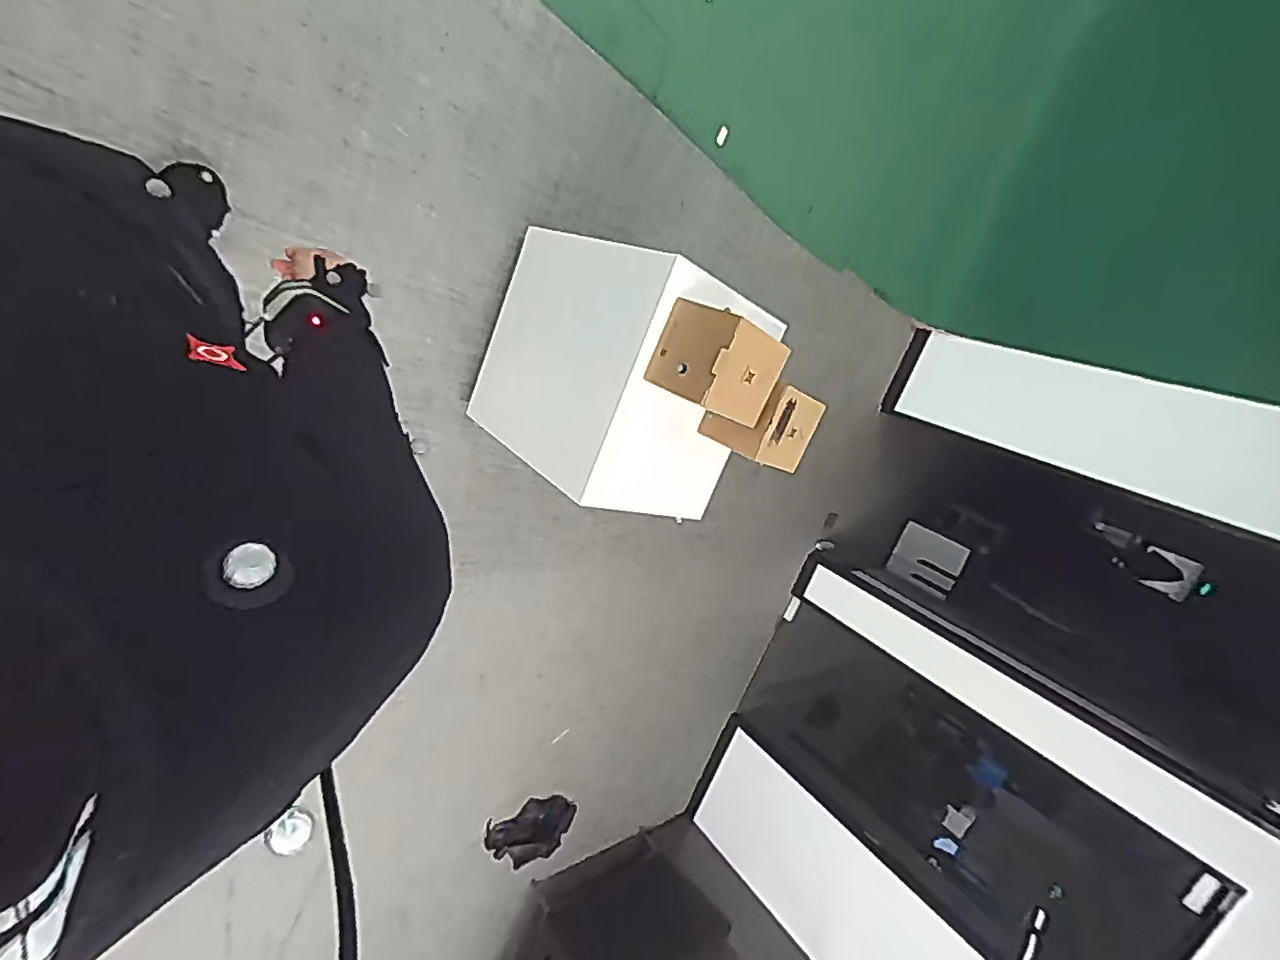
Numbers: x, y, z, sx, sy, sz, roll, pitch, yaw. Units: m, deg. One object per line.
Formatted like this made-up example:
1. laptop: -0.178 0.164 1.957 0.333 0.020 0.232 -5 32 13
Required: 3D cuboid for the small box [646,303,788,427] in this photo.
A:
1. small box: 0.140 -0.221 1.027 0.179 0.176 0.168 11 107 -48
